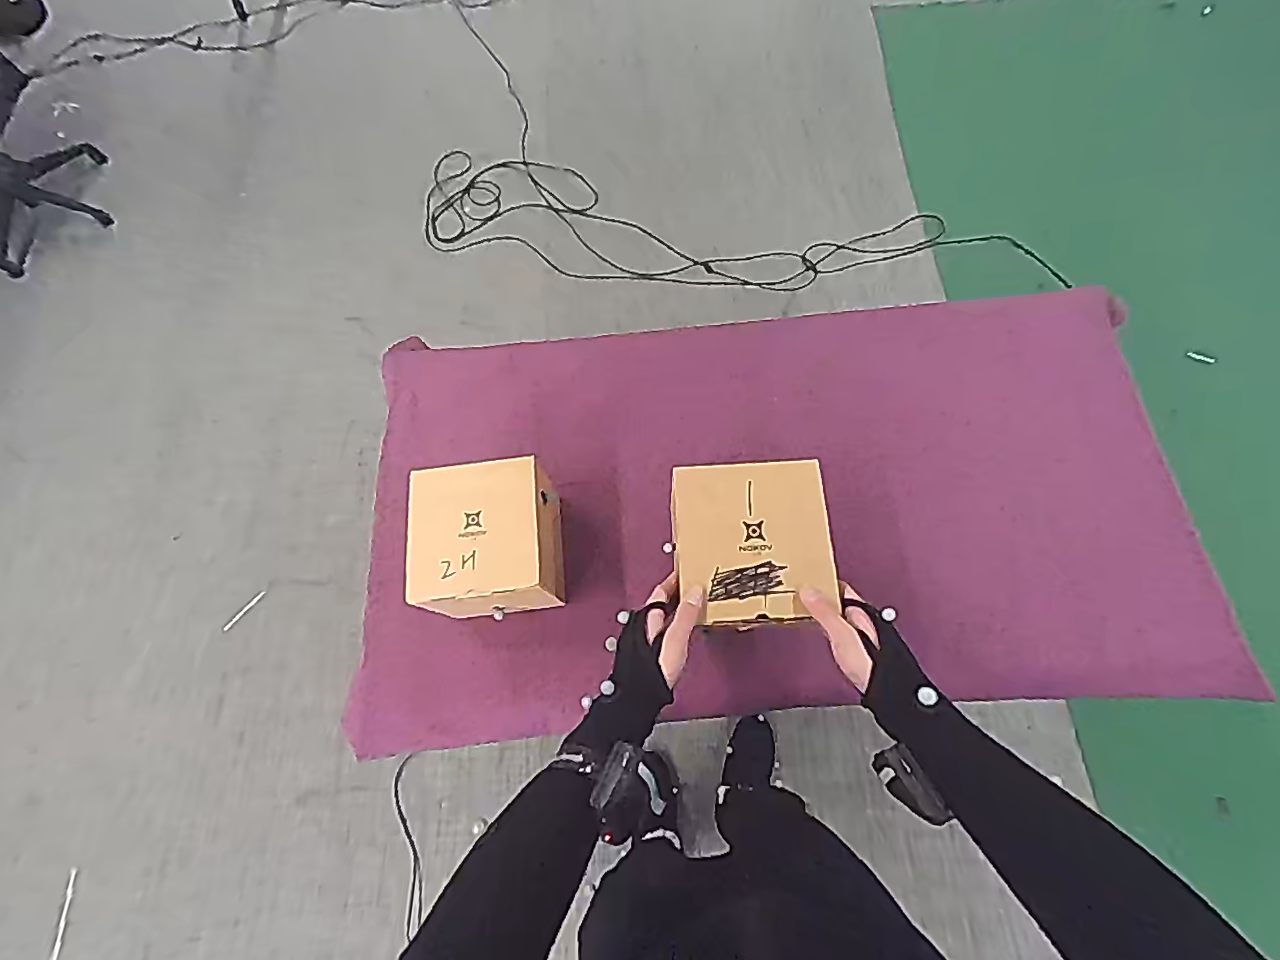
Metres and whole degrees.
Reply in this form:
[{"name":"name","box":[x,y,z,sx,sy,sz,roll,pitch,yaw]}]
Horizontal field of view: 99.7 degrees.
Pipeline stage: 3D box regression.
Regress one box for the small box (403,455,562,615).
[{"name":"small box","box":[-0.208,0.084,0.754,0.168,0.176,0.179,-7,70,2]}]

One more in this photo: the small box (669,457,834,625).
[{"name":"small box","box":[0.122,0.084,0.660,0.168,0.176,0.179,-3,71,2]}]
